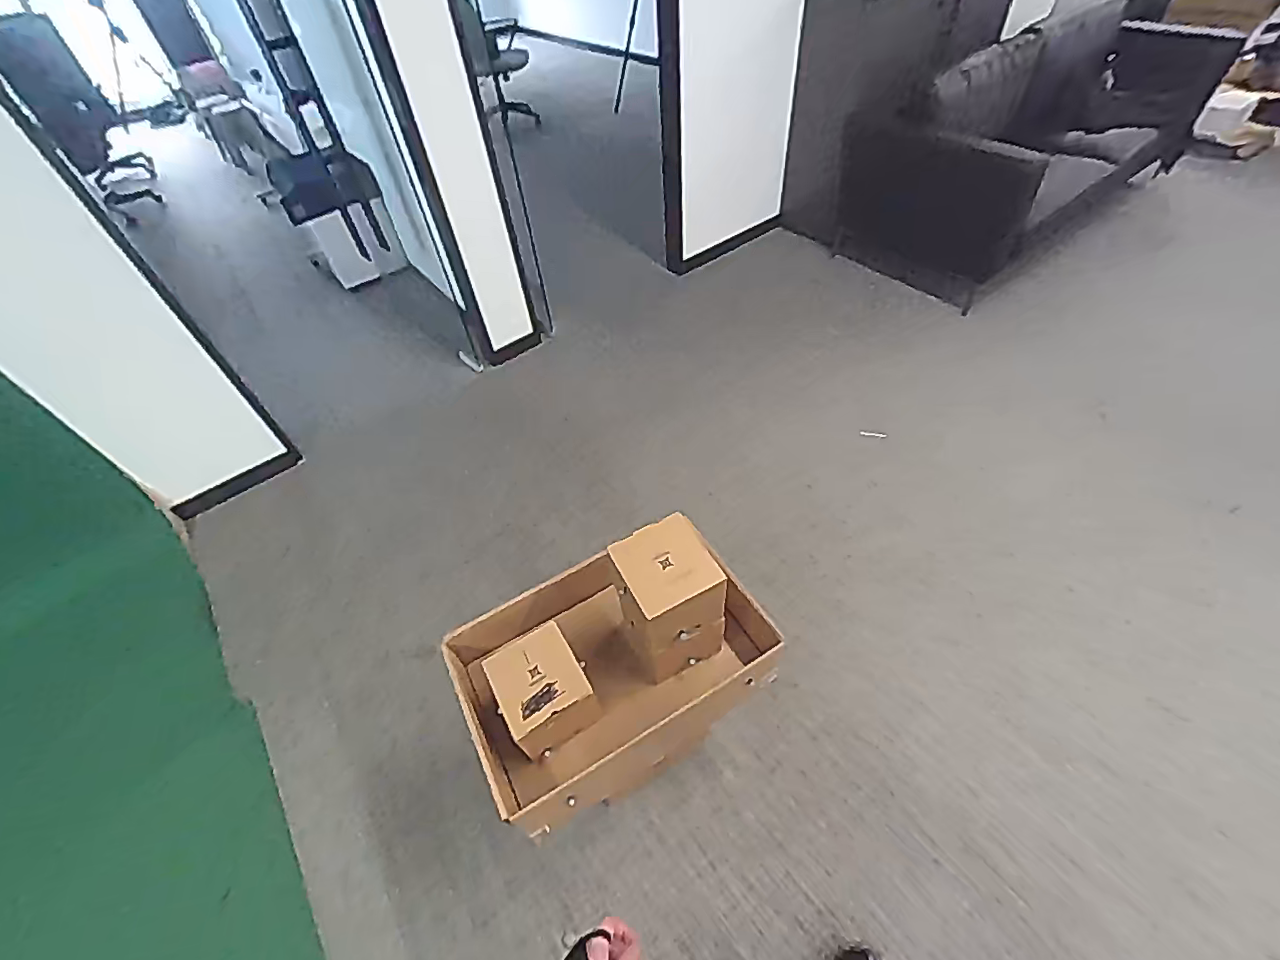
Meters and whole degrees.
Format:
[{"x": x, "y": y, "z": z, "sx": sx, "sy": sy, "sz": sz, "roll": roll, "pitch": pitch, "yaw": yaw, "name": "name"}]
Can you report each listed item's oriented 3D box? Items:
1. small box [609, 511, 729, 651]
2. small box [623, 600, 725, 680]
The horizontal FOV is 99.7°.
[{"x": 0.053, "y": 0.198, "z": 1.051, "sx": 0.168, "sy": 0.176, "sz": 0.179, "roll": -24, "pitch": 52, "yaw": -14, "name": "small box"}, {"x": 0.068, "y": 0.300, "z": 1.178, "sx": 0.168, "sy": 0.176, "sz": 0.179, "roll": -23, "pitch": 52, "yaw": -14, "name": "small box"}]
